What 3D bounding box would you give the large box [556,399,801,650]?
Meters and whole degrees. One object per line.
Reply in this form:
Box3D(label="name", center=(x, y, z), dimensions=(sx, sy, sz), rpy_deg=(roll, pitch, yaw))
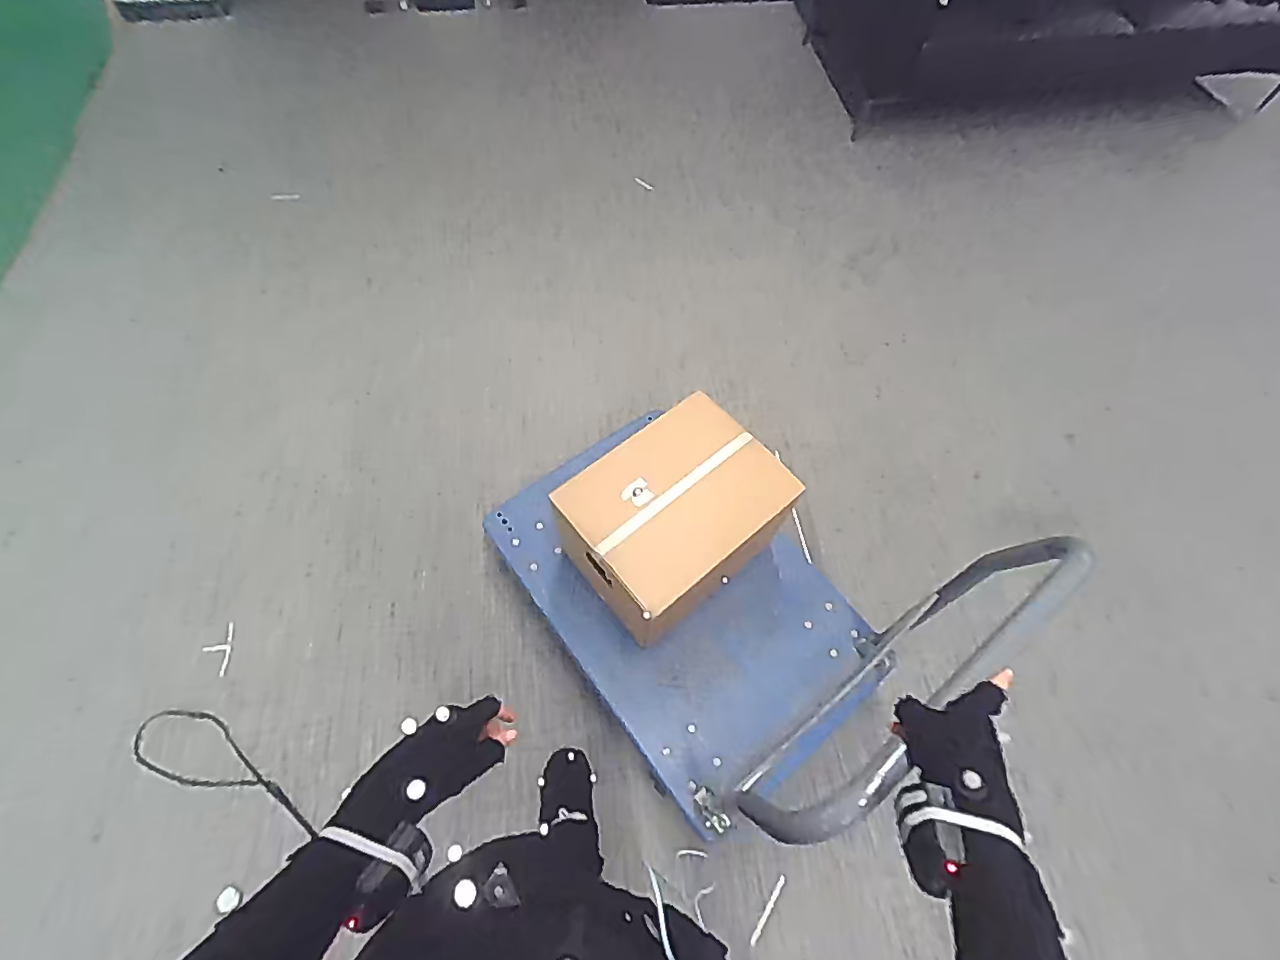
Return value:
Box3D(label="large box", center=(0.077, 0.105, 1.194), dimensions=(0.408, 0.320, 0.320), rpy_deg=(-38, 69, -18))
